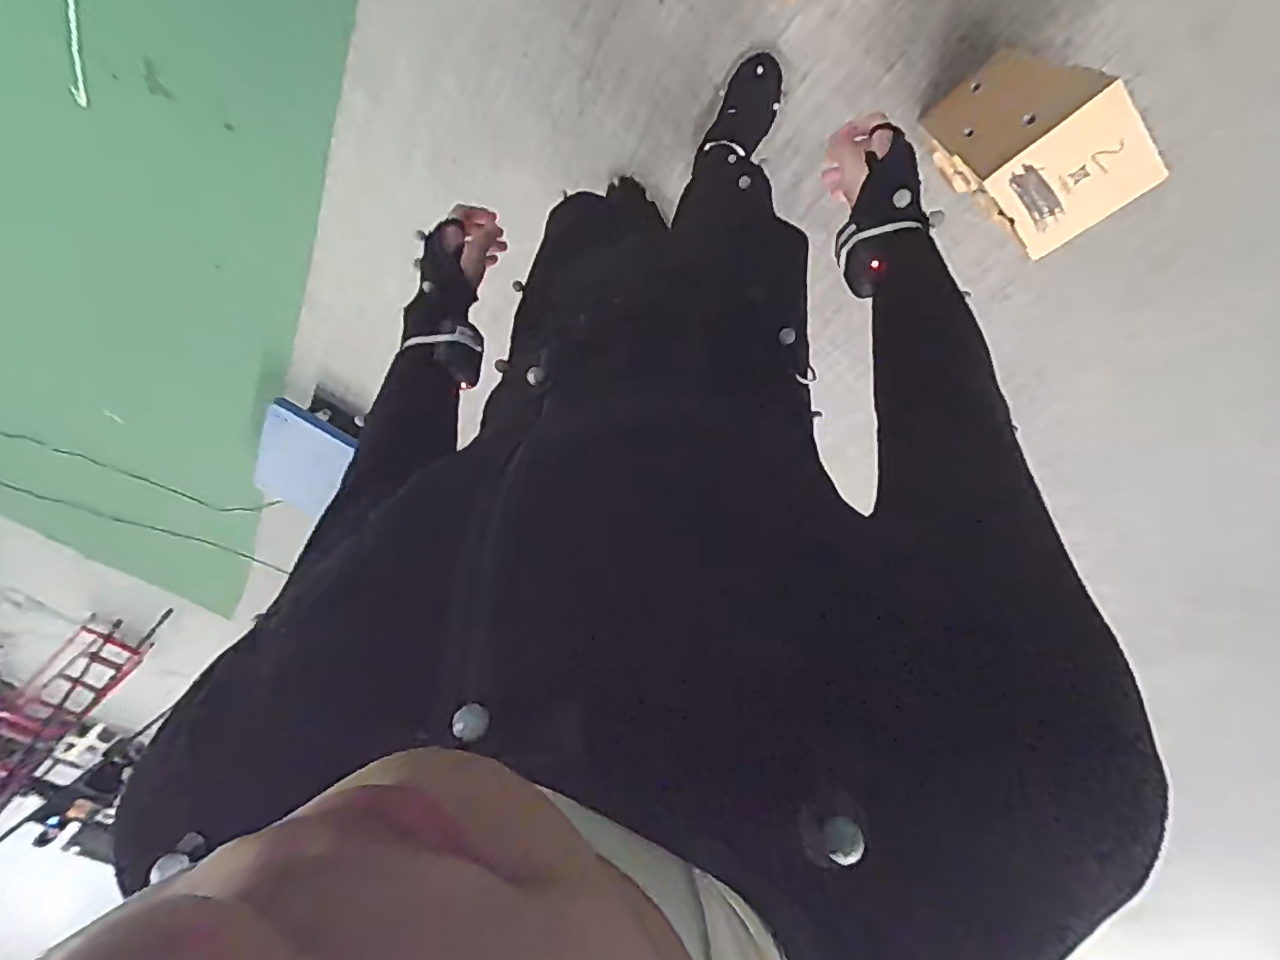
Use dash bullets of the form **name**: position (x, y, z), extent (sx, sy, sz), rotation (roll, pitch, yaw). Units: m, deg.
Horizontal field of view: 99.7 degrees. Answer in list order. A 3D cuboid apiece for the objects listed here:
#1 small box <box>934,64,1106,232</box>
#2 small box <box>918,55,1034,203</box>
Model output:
- **small box**: position (0.658, -0.589, 0.957), extent (0.168, 0.176, 0.179), rotation (38, 131, -20)
- **small box**: position (0.683, -0.699, 1.072), extent (0.179, 0.176, 0.168), rotation (-29, 117, 36)
